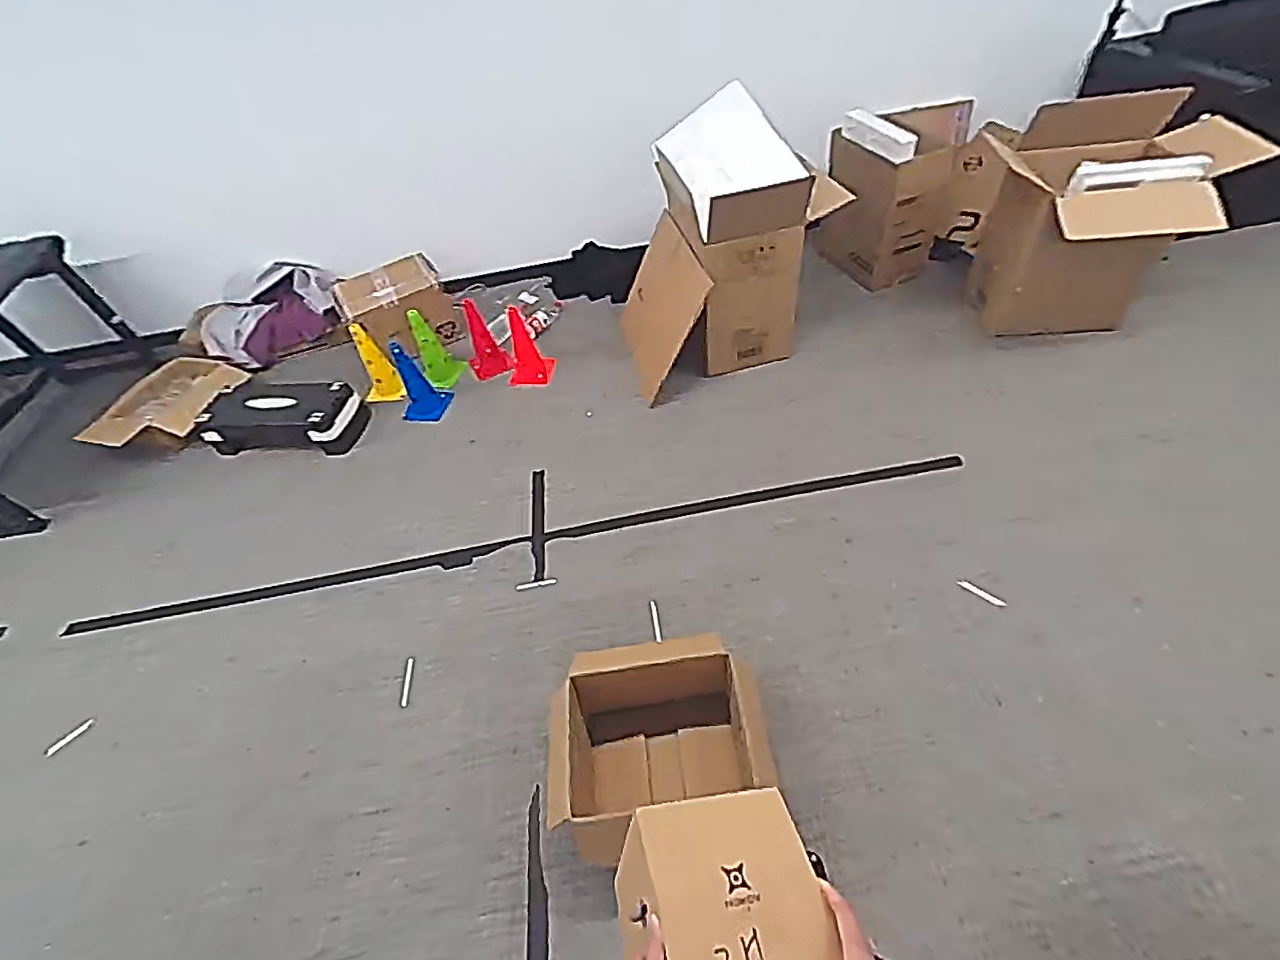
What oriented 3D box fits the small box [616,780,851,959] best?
[{"bbox_3d":[0.077,0.445,0.549,0.168,0.176,0.179,0,32,-15],"label":"small box"}]
